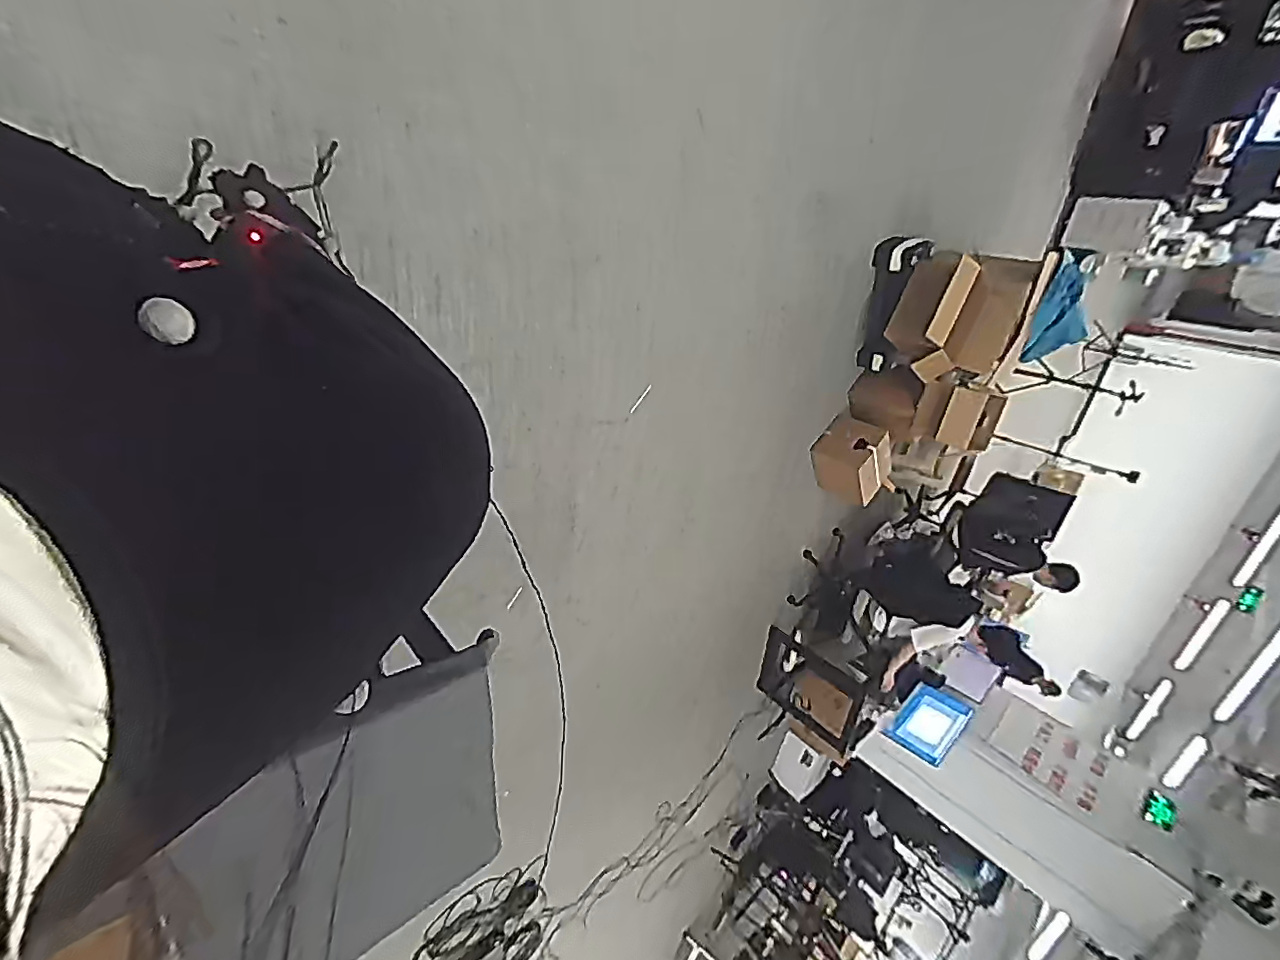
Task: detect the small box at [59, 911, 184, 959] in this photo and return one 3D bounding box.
[{"bbox_3d":[-0.683,0.707,0.677,0.179,0.176,0.168,-16,122,-39],"label":"small box"}]
